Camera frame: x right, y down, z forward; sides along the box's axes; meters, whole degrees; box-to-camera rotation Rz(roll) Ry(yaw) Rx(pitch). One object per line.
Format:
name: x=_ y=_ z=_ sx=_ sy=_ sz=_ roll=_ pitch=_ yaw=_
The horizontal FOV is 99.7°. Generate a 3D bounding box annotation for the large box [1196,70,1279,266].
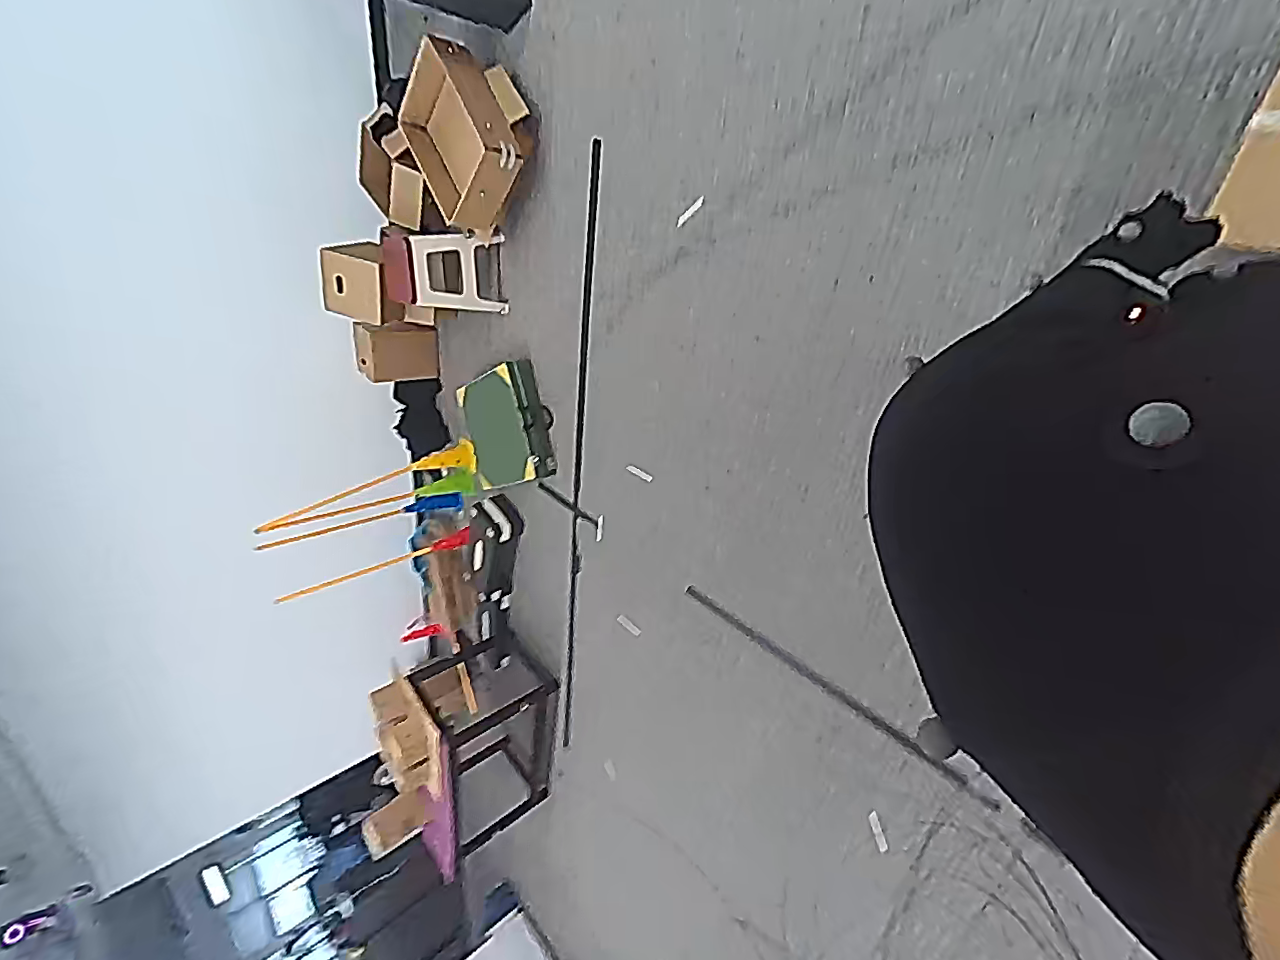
large box: x=1.093 y=-0.447 z=0.727 sx=0.408 sy=0.320 sz=0.320 roll=29 pitch=124 yaw=38
